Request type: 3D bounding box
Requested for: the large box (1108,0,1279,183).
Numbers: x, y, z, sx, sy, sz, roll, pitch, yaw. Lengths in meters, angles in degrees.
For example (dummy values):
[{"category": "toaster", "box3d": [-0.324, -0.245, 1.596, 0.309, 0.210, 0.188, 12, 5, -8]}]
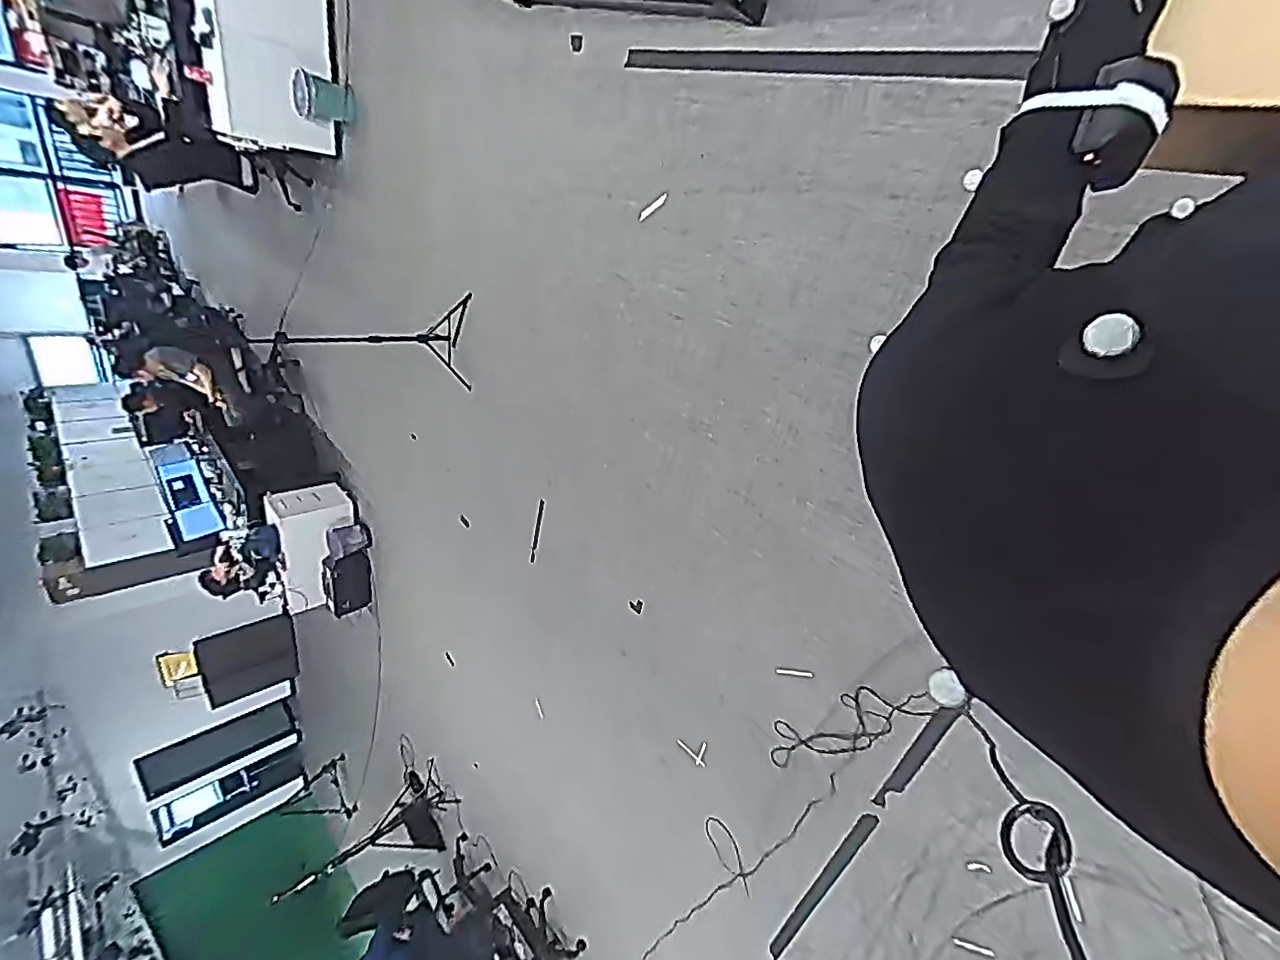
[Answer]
[{"category": "large box", "box3d": [0.628, -0.385, 0.360, 0.408, 0.320, 0.320, 26, 122, 31]}]
